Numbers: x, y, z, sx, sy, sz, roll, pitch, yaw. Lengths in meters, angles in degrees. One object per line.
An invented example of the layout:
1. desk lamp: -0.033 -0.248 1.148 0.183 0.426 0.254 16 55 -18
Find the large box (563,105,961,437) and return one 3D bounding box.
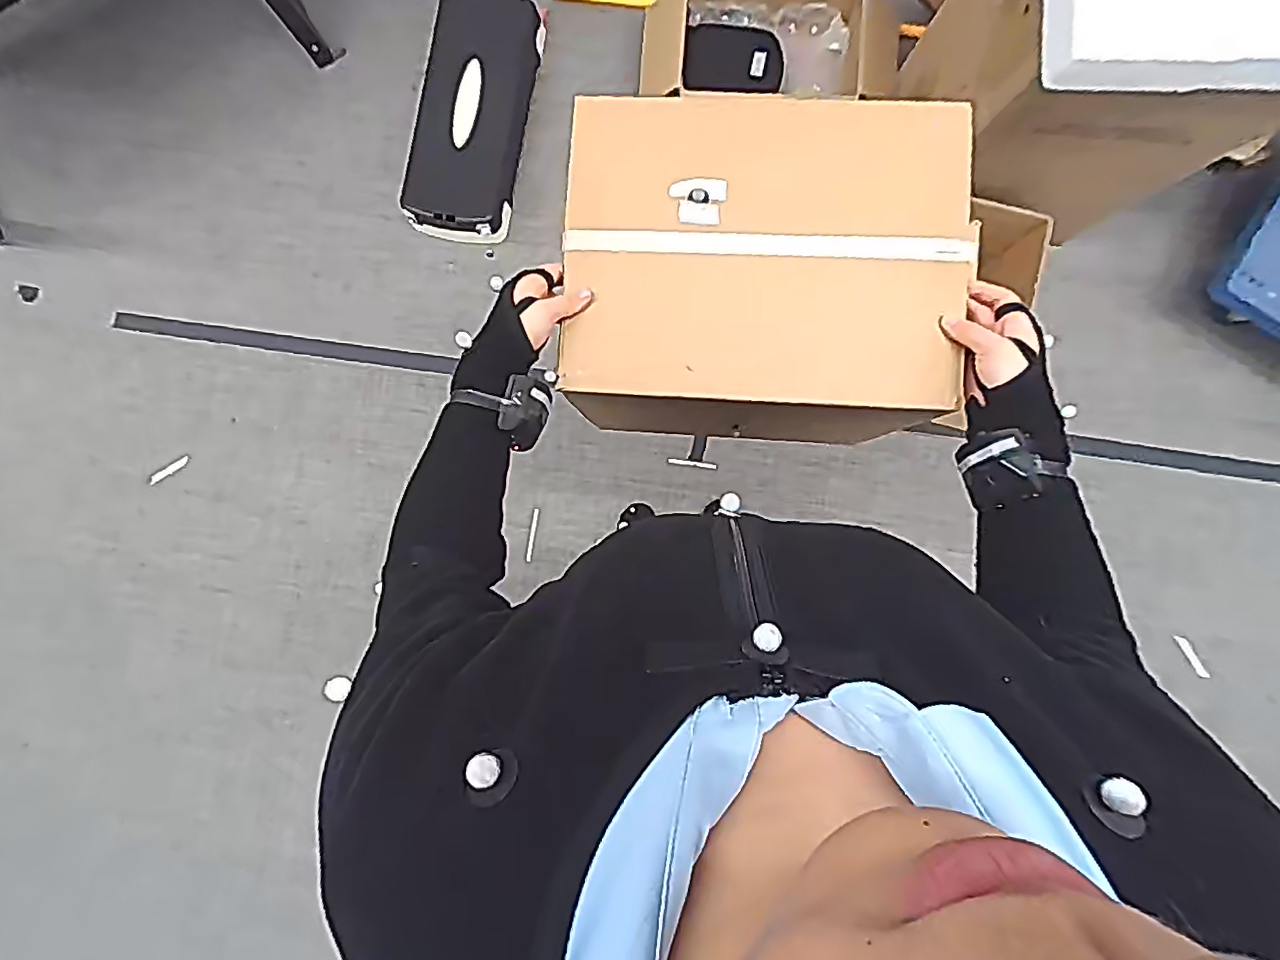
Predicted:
1. large box: 0.137 -0.230 0.707 0.408 0.320 0.320 3 86 5
